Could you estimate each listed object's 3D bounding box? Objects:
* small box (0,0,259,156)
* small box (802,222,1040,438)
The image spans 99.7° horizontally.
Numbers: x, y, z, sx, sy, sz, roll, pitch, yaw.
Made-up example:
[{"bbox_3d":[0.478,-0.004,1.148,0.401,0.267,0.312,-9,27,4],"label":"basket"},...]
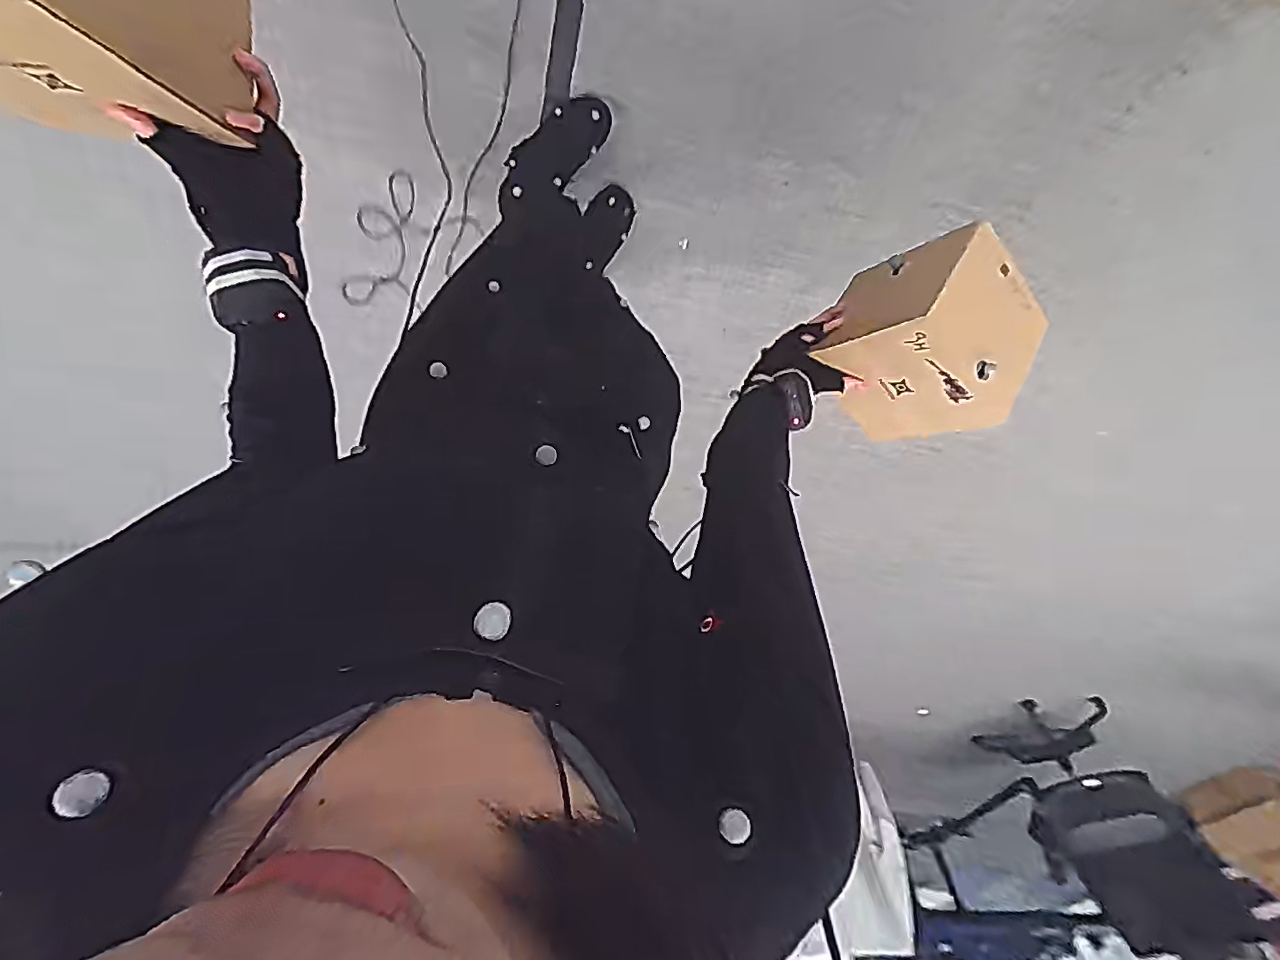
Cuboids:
[{"bbox_3d":[-0.397,-0.346,0.359,0.168,0.179,0.176,4,99,0],"label":"small box"},{"bbox_3d":[0.345,-0.174,0.668,0.168,0.176,0.179,44,159,-20],"label":"small box"}]
